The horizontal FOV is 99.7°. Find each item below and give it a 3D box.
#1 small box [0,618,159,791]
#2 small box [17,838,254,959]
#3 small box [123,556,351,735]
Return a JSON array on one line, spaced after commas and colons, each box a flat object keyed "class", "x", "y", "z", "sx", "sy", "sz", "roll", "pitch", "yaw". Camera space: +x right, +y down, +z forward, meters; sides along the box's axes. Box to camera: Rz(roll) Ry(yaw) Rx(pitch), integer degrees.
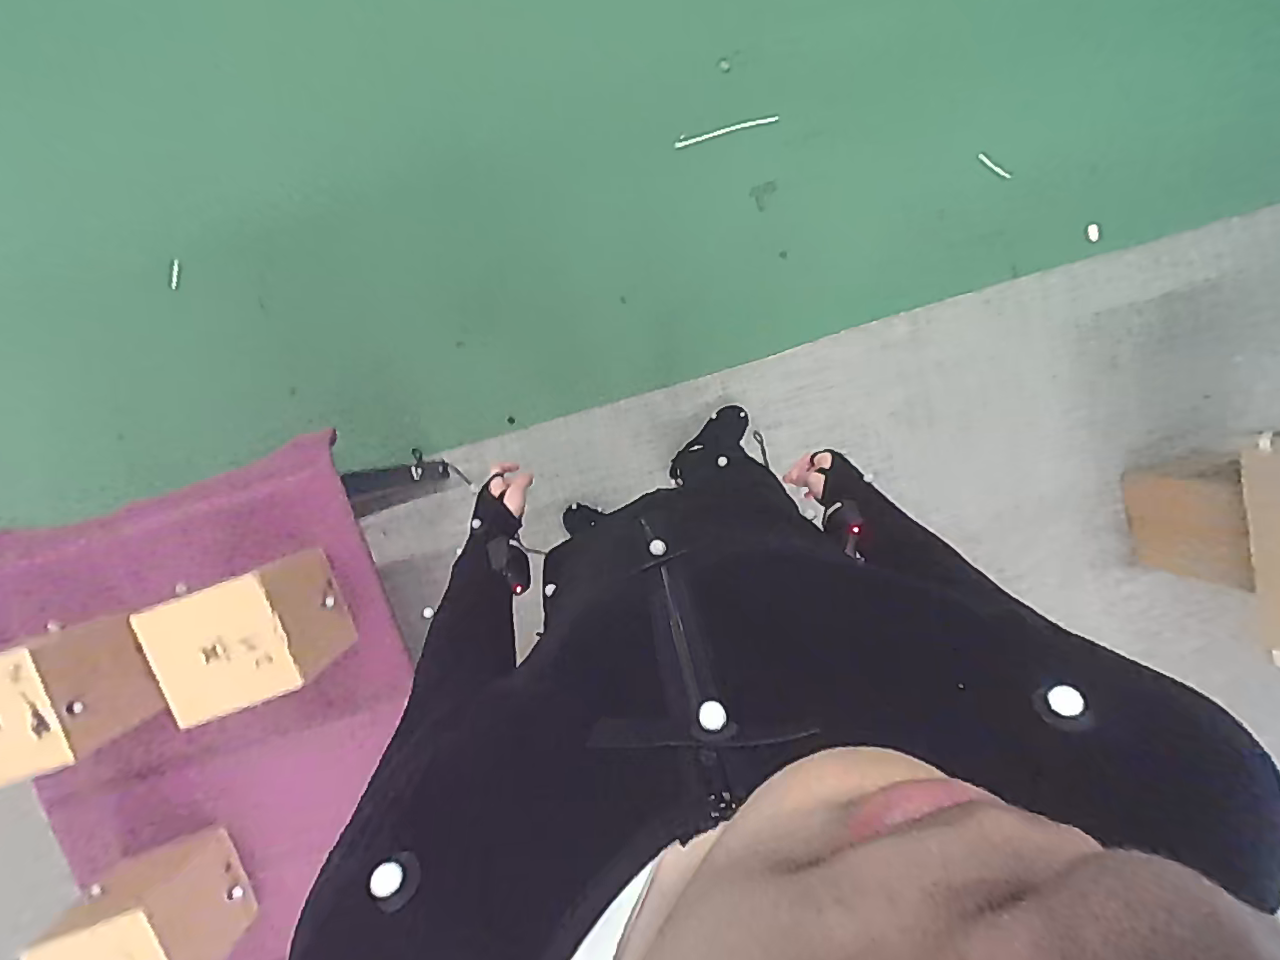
[{"class": "small box", "x": -0.857, "y": 0.321, "z": 0.775, "sx": 0.179, "sy": 0.176, "sz": 0.168, "roll": -17, "pitch": 95, "yaw": -2}, {"class": "small box", "x": -0.736, "y": 0.689, "z": 0.807, "sx": 0.179, "sy": 0.176, "sz": 0.168, "roll": -19, "pitch": 95, "yaw": -2}, {"class": "small box", "x": -0.562, "y": 0.226, "z": 0.782, "sx": 0.179, "sy": 0.176, "sz": 0.168, "roll": -20, "pitch": 96, "yaw": -2}]
